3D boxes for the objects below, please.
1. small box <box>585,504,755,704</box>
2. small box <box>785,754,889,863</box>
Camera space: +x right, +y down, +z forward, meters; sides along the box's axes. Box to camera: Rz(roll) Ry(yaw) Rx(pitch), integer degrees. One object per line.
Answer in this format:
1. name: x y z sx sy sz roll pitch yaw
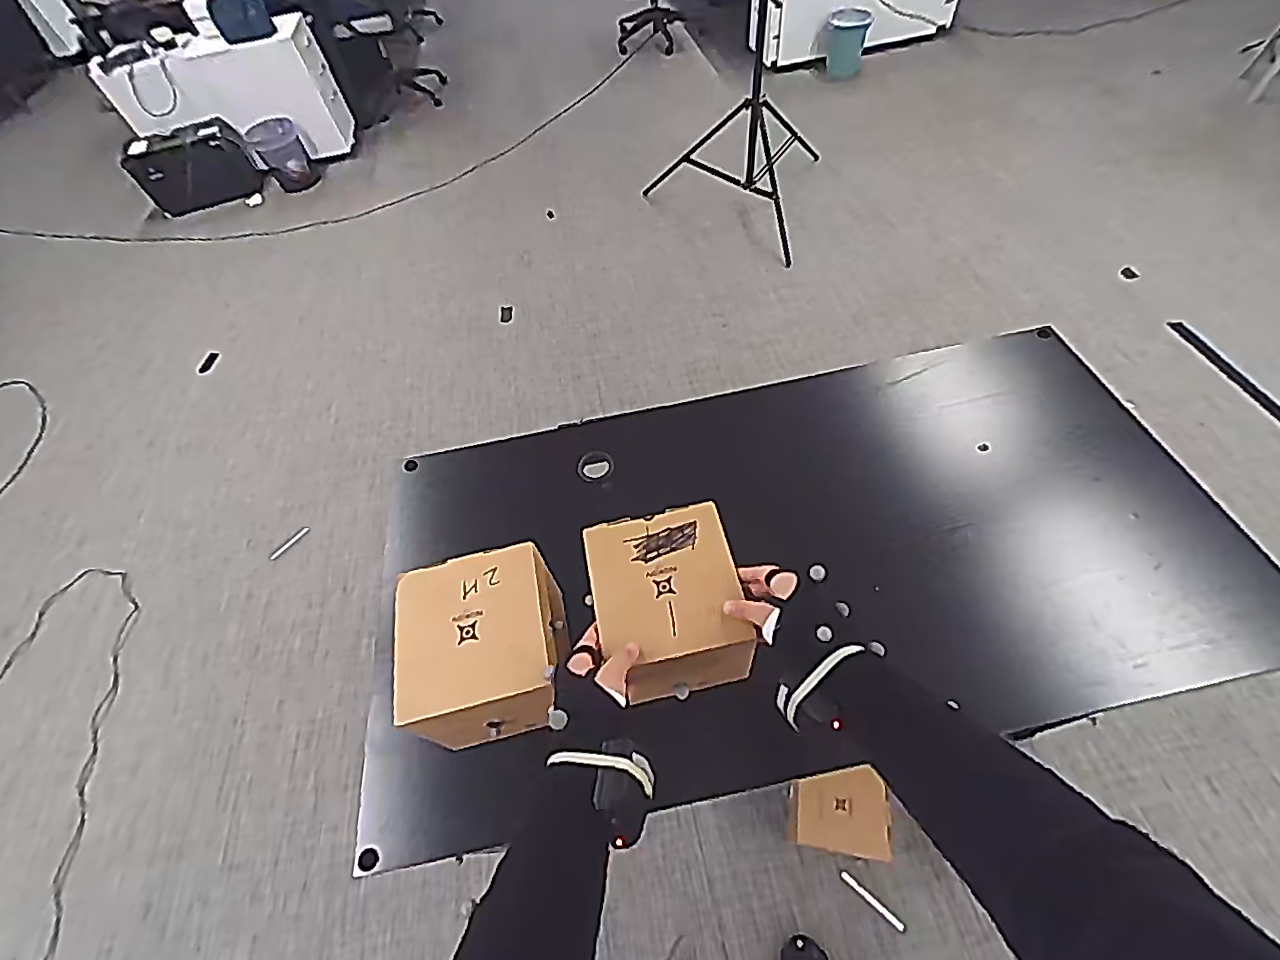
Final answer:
1. small box: 0.033 0.159 0.675 0.168 0.176 0.179 -13 56 -1
2. small box: 0.412 0.698 1.152 0.179 0.176 0.168 5 56 11
